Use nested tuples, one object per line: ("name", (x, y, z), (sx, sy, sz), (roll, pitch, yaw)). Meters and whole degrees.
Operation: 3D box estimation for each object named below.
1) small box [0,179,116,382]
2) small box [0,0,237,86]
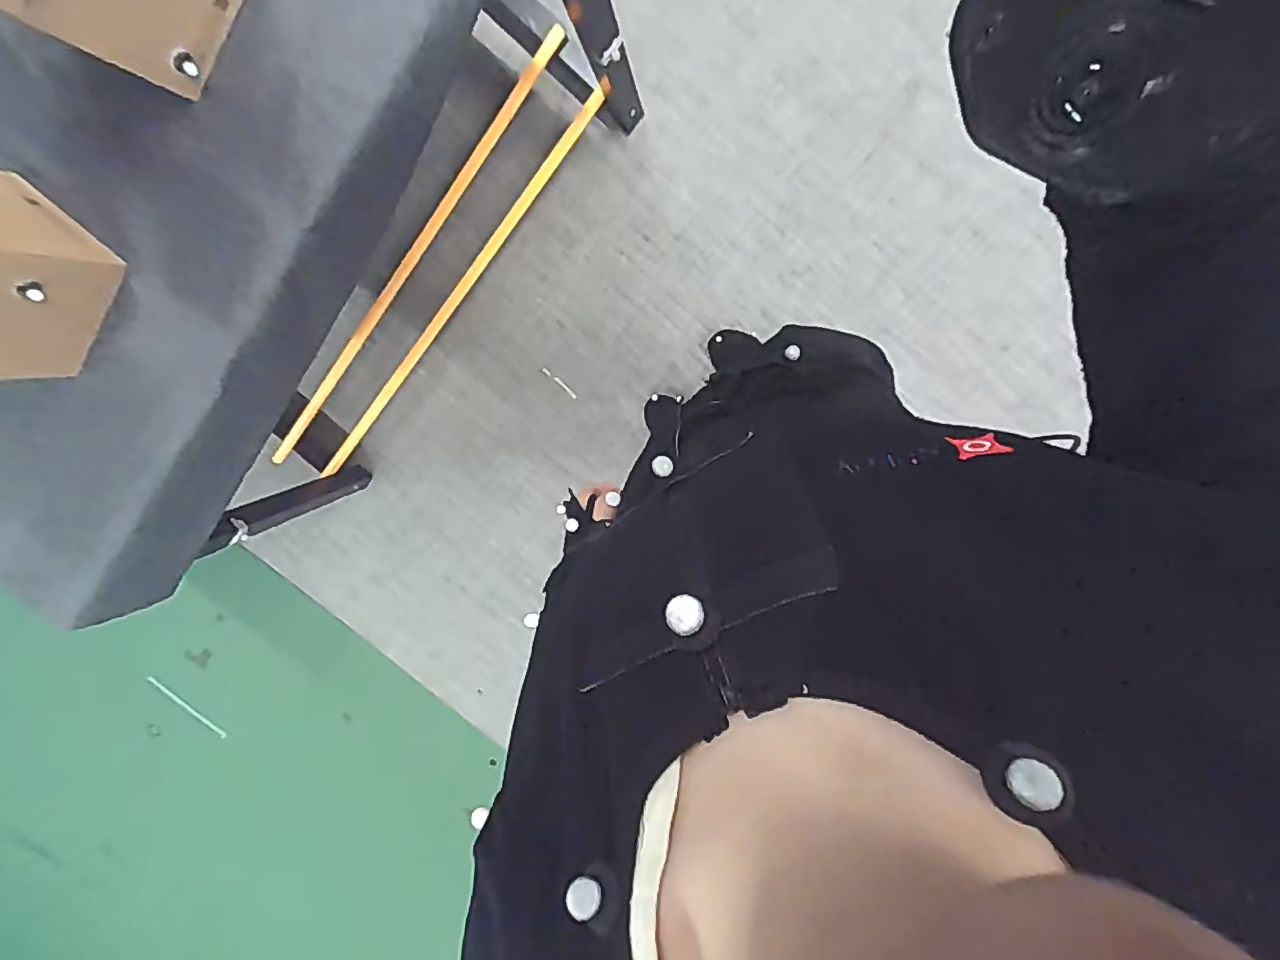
("small box", (-0.736, -0.223, 0.584), (0.168, 0.176, 0.179), (40, 105, -2))
("small box", (-0.510, -0.505, 0.487), (0.179, 0.176, 0.168), (40, 104, -3))
